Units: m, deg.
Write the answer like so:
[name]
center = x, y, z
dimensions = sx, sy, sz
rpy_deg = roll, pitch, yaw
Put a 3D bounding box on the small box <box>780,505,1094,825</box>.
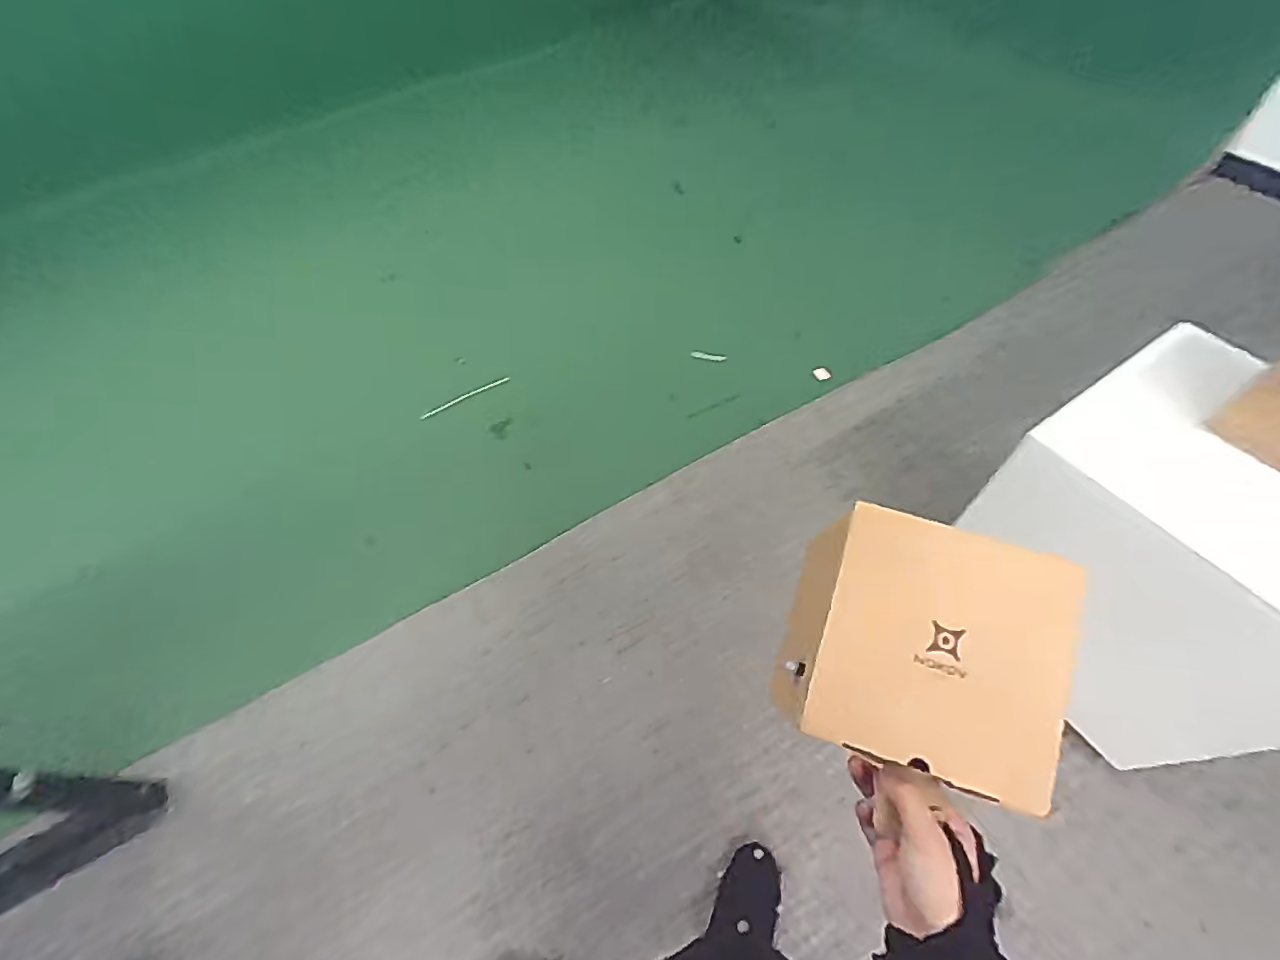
[small box]
center = 0.226, 0.140, 0.456
dimensions = 0.168, 0.176, 0.179
rpy_deg = 17, 78, 9
